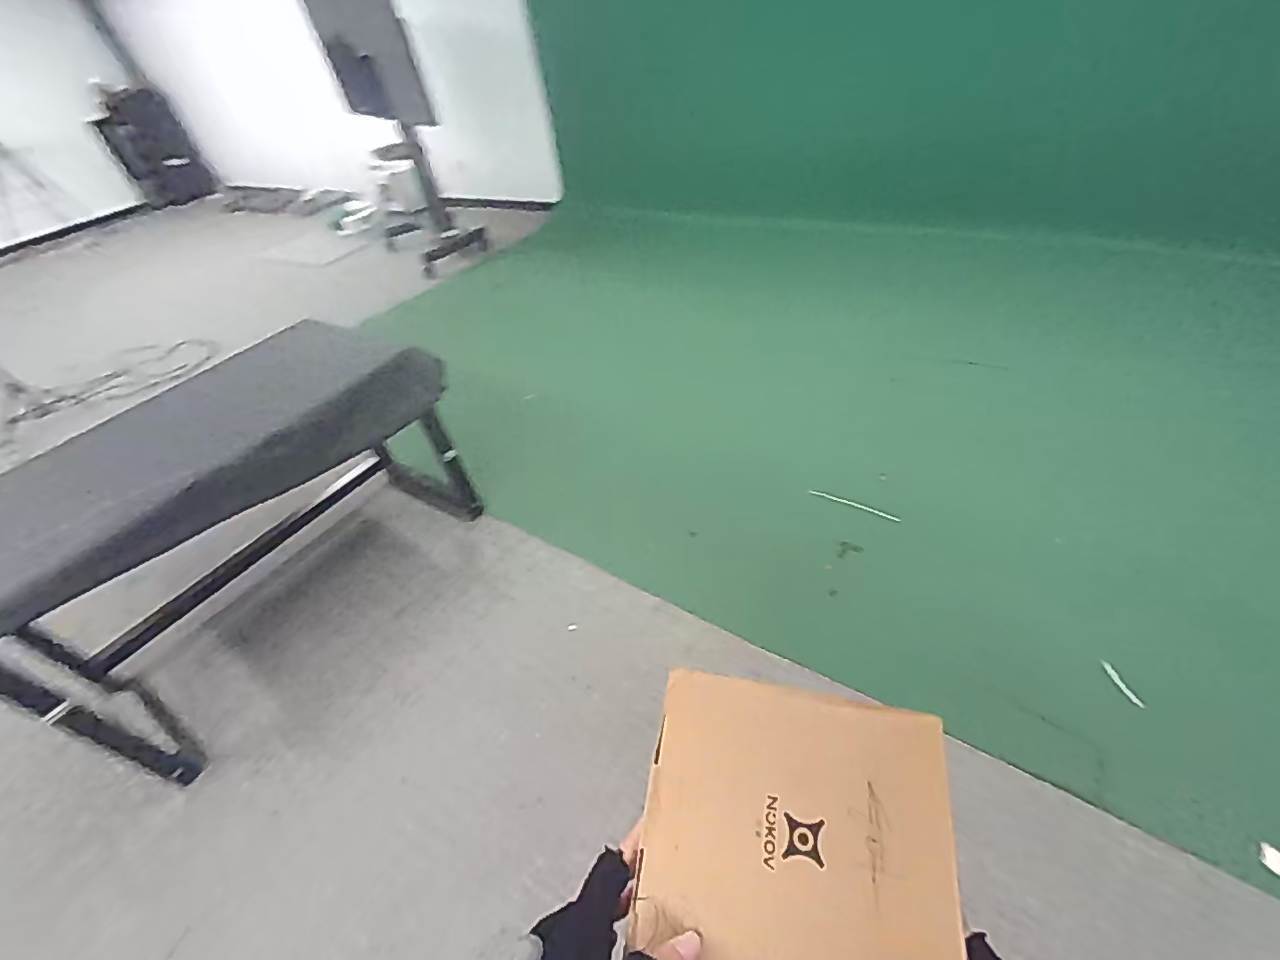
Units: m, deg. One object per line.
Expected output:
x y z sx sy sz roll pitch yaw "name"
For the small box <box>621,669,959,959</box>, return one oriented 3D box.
0.090 0.248 0.381 0.179 0.176 0.168 6 57 6 "small box"
